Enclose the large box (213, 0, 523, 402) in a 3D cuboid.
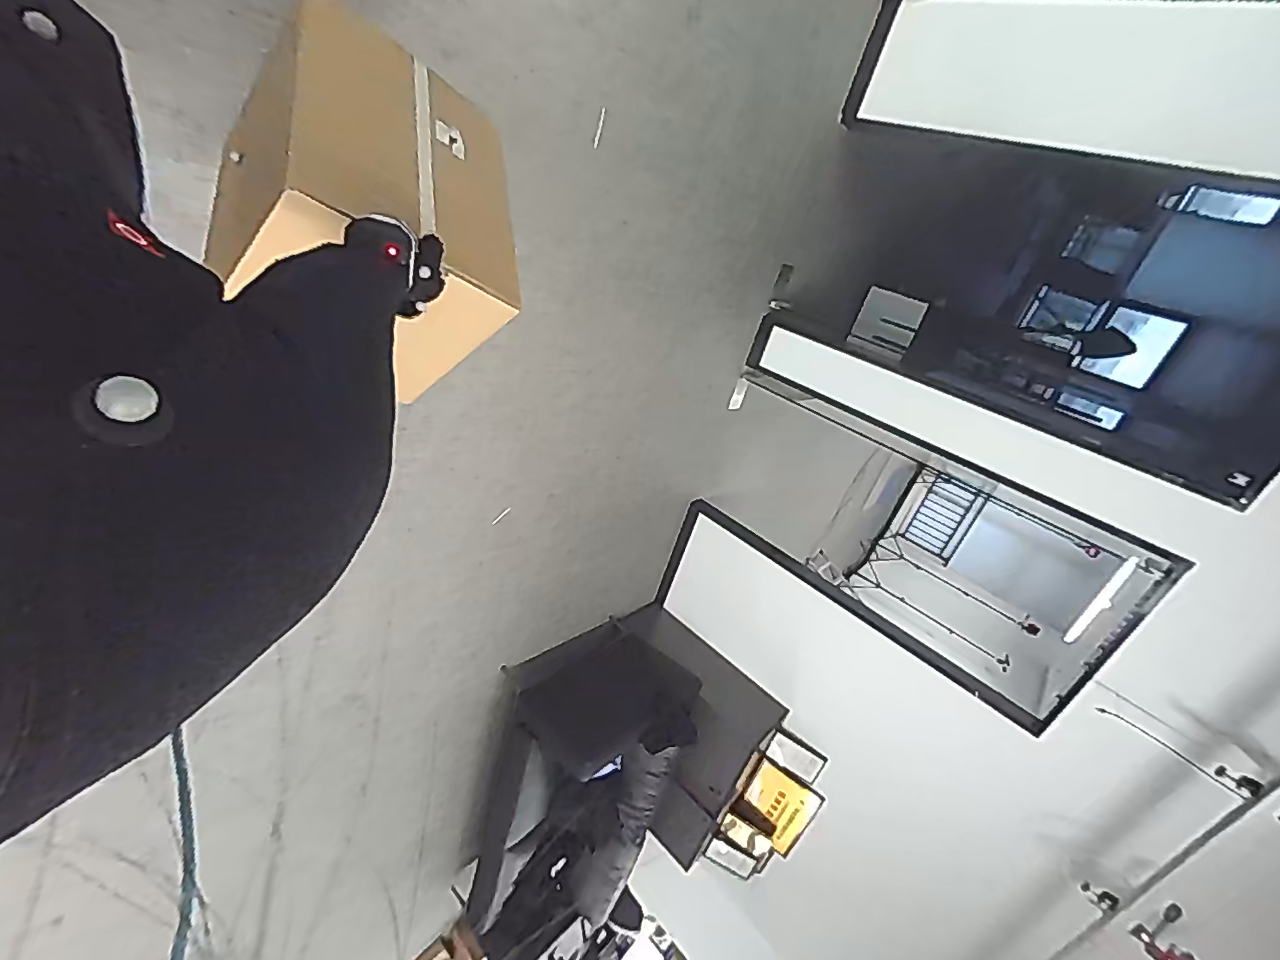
[{"bbox_3d":[-0.419,-0.392,0.841,0.320,0.408,0.320,-27,153,32],"label":"large box"}]
